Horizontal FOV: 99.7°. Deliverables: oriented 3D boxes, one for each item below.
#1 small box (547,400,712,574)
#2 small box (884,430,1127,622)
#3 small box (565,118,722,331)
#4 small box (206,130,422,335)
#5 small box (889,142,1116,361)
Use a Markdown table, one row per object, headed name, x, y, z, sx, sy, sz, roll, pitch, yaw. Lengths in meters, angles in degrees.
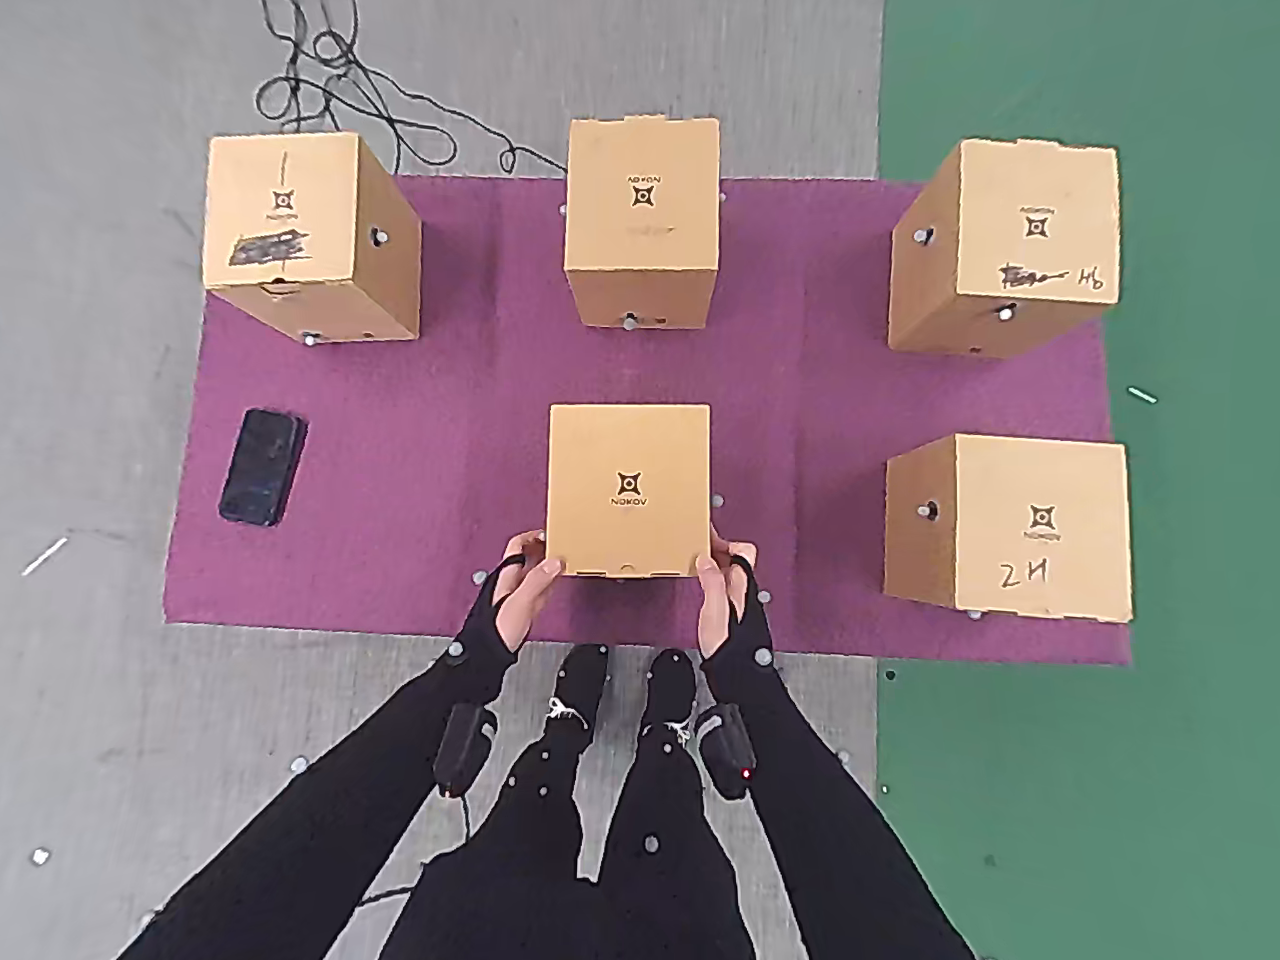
| name | x | y | z | sx | sy | sz | roll | pitch | yaw |
| --- | --- | --- | --- | --- | --- | --- | --- | --- | --- |
| small box | -0.009 | 0.016 | 0.622 | 0.168 | 0.176 | 0.179 | 0 | 83 | 1 |
| small box | 0.389 | 0.053 | 0.605 | 0.168 | 0.176 | 0.179 | 5 | 83 | 3 |
| small box | 0.006 | -0.300 | 0.661 | 0.168 | 0.176 | 0.179 | 2 | 84 | 2 |
| small box | -0.382 | -0.288 | 0.665 | 0.168 | 0.176 | 0.179 | -1 | 82 | 0 |
| small box | 0.415 | -0.261 | 0.647 | 0.168 | 0.176 | 0.179 | 5 | 83 | 2 |
